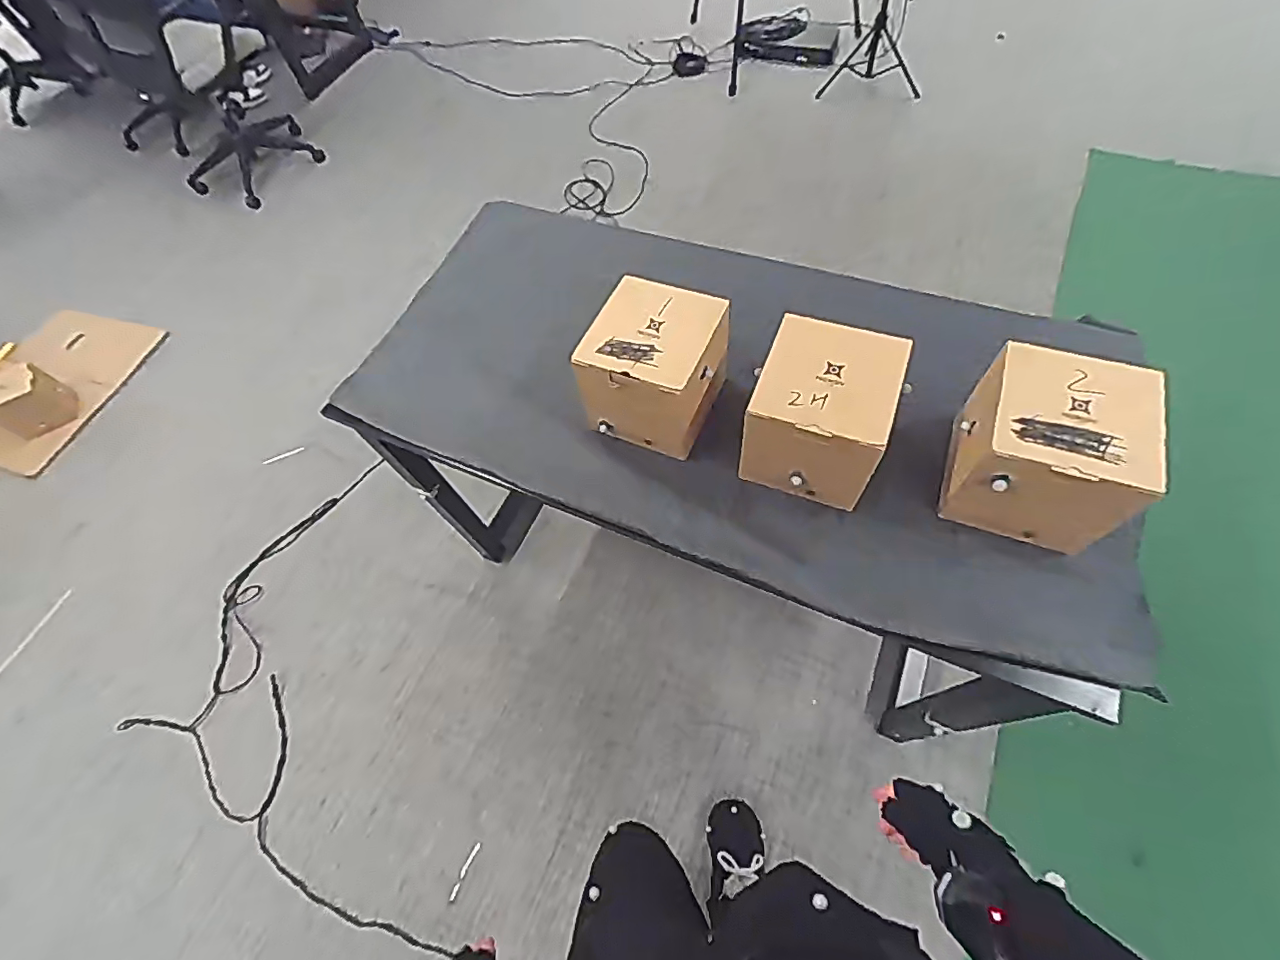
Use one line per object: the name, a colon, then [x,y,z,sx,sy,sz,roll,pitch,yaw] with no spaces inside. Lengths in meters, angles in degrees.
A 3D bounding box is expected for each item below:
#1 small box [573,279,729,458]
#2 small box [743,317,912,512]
small box: [0.024,-0.160,0.806,0.168,0.176,0.179,20,64,16]
small box: [0.246,-0.085,0.740,0.168,0.176,0.179,18,64,16]
